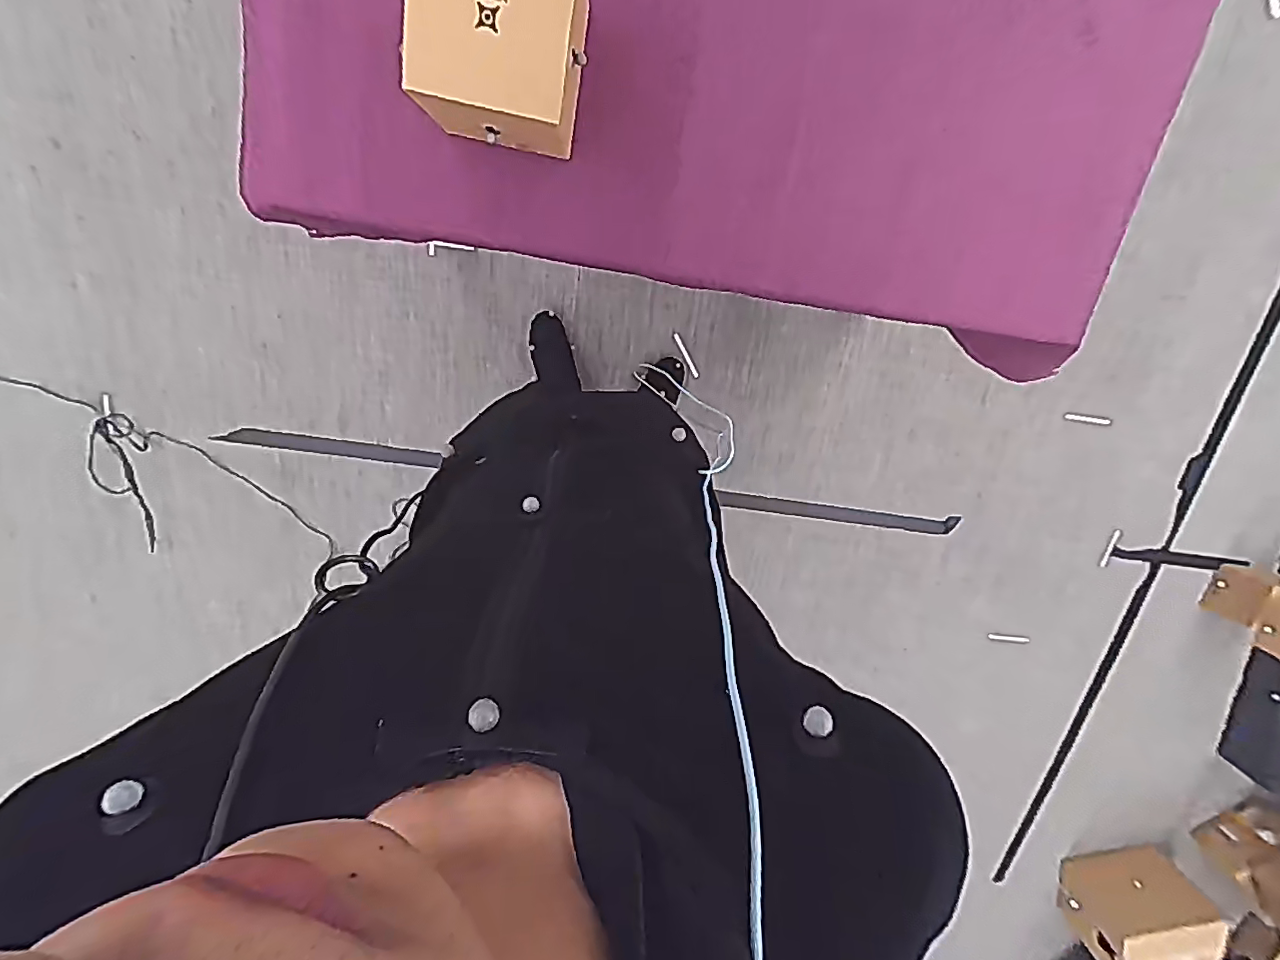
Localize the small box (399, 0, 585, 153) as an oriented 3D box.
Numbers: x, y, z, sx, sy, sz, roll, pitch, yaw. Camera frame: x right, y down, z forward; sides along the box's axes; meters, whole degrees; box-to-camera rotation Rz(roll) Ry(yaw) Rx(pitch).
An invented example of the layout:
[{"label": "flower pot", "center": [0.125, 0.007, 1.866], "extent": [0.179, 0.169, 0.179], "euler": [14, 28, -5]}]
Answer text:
[{"label": "small box", "center": [-0.156, -0.496, 0.611], "extent": [0.168, 0.176, 0.179], "euler": [9, 109, -7]}]
